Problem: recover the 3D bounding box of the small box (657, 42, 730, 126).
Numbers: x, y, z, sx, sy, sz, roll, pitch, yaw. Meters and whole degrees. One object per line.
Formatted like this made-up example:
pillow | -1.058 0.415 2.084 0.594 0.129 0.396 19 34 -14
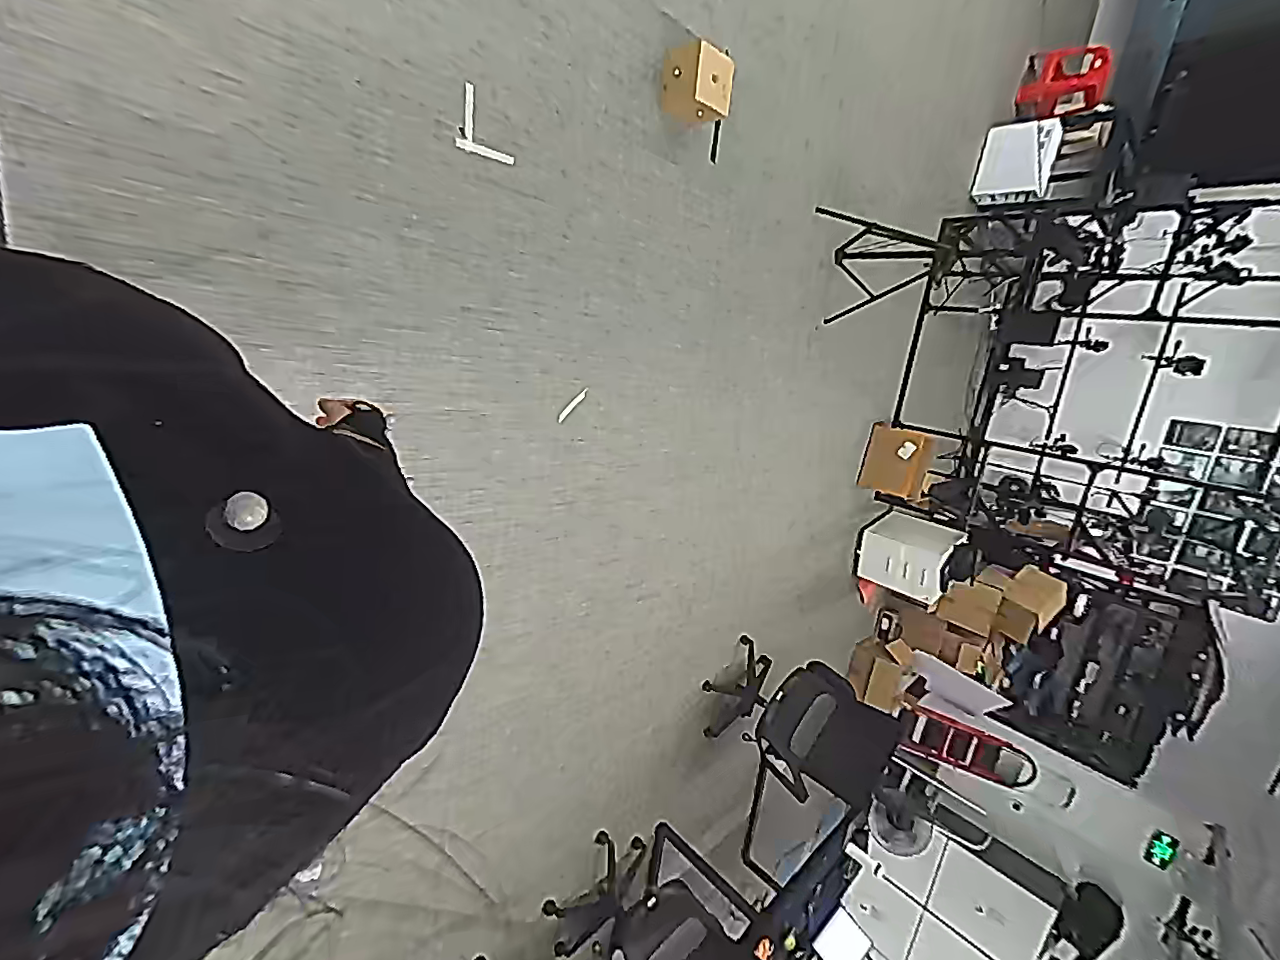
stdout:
small box | 0.176 -1.317 1.815 0.179 0.176 0.168 -9 111 -45
